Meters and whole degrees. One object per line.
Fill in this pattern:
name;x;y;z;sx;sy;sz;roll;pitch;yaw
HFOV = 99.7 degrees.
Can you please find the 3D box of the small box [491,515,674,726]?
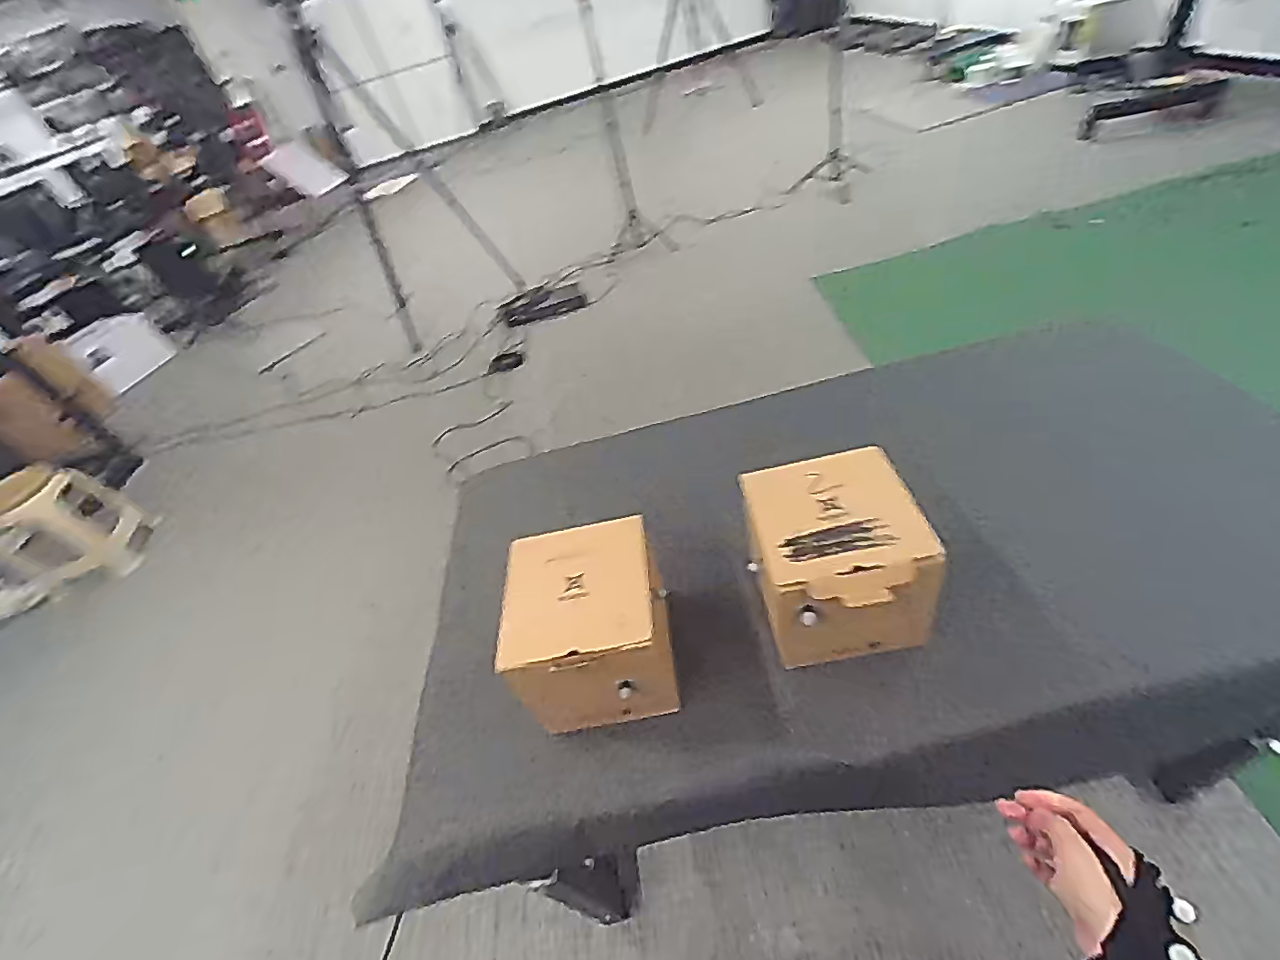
small box;-0.060;0.173;0.645;0.168;0.176;0.179;-12;42;4
